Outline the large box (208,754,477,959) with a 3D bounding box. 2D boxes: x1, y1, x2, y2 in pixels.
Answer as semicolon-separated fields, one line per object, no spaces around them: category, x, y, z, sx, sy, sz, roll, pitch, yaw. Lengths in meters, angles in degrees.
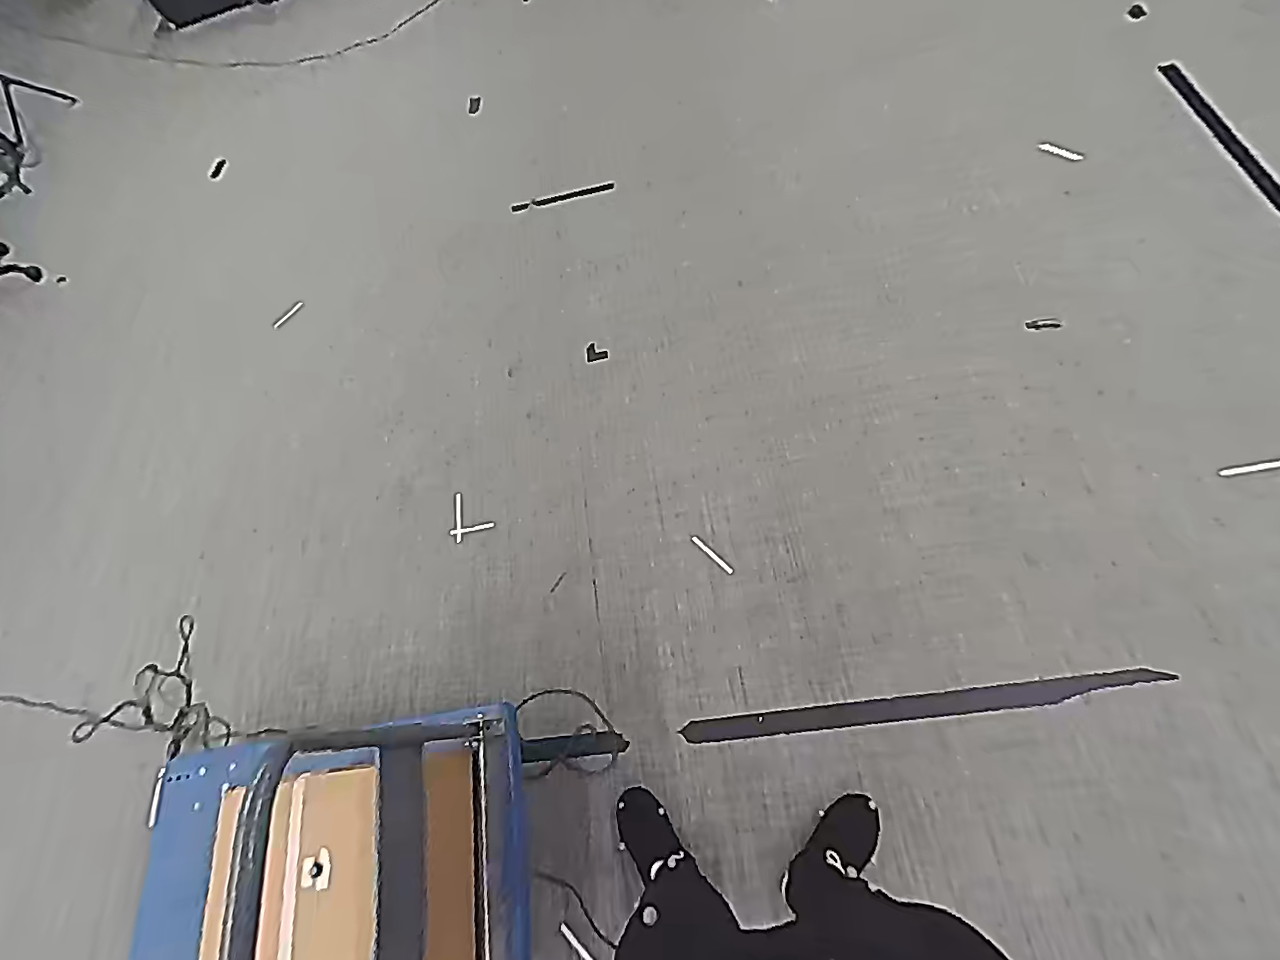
large box;-0.510;0.751;0.981;0.320;0.320;0.408;-12;65;6
